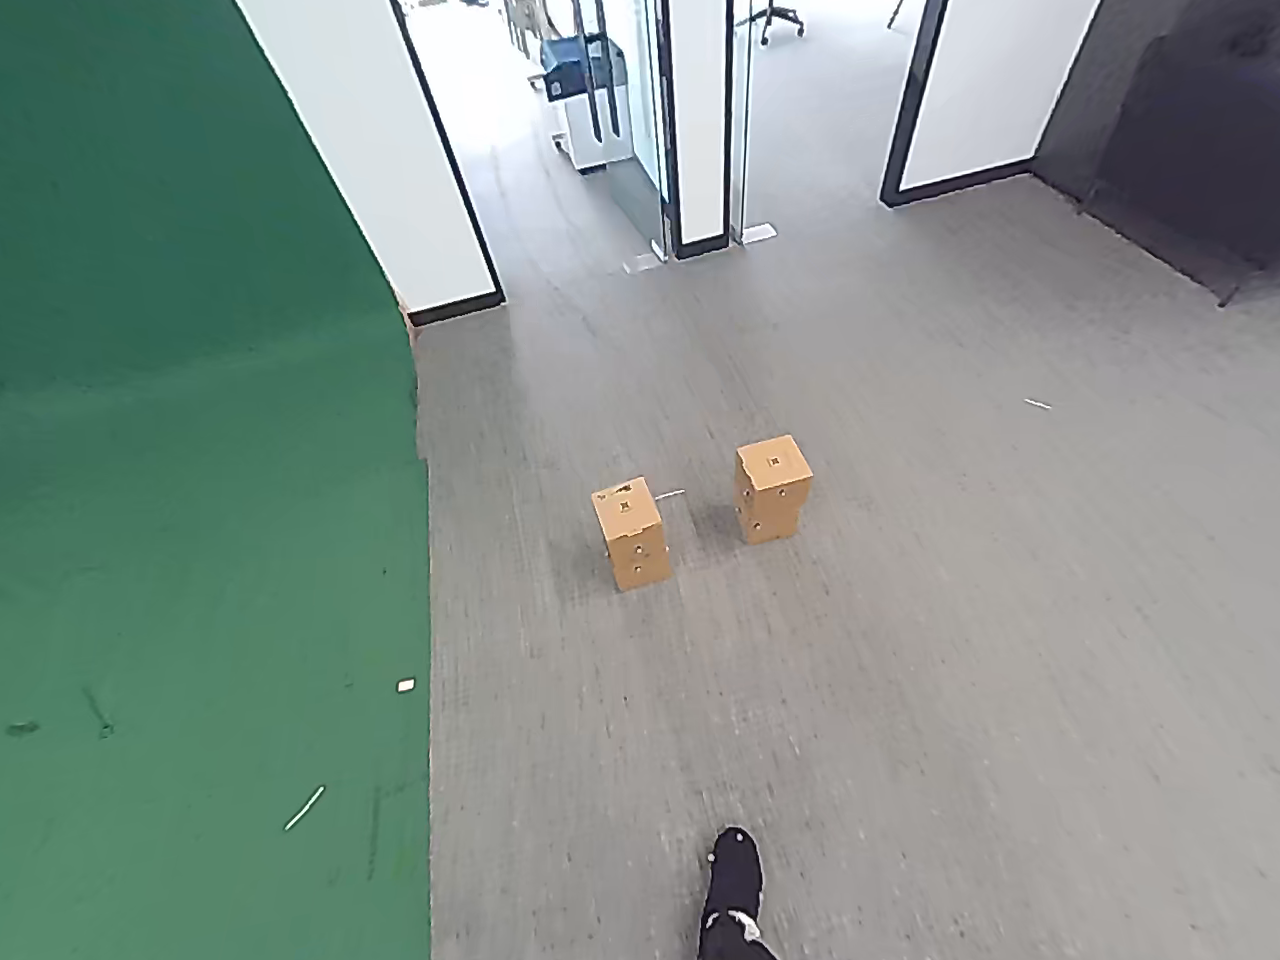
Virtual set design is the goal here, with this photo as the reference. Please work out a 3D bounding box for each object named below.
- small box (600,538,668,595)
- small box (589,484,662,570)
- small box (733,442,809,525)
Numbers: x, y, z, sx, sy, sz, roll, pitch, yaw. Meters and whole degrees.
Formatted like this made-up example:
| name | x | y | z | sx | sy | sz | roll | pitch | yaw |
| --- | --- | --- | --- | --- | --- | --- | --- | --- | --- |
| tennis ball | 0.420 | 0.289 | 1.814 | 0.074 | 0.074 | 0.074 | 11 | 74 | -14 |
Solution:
| name | x | y | z | sx | sy | sz | roll | pitch | yaw |
| --- | --- | --- | --- | --- | --- | --- | --- | --- | --- |
| small box | -0.018 | 0.246 | 1.727 | 0.179 | 0.176 | 0.168 | -15 | 52 | -5 |
| small box | -0.038 | 0.146 | 1.598 | 0.168 | 0.176 | 0.179 | -18 | 53 | -7 |
| small box | 0.391 | 0.016 | 1.643 | 0.179 | 0.176 | 0.168 | -14 | 52 | -4 |
